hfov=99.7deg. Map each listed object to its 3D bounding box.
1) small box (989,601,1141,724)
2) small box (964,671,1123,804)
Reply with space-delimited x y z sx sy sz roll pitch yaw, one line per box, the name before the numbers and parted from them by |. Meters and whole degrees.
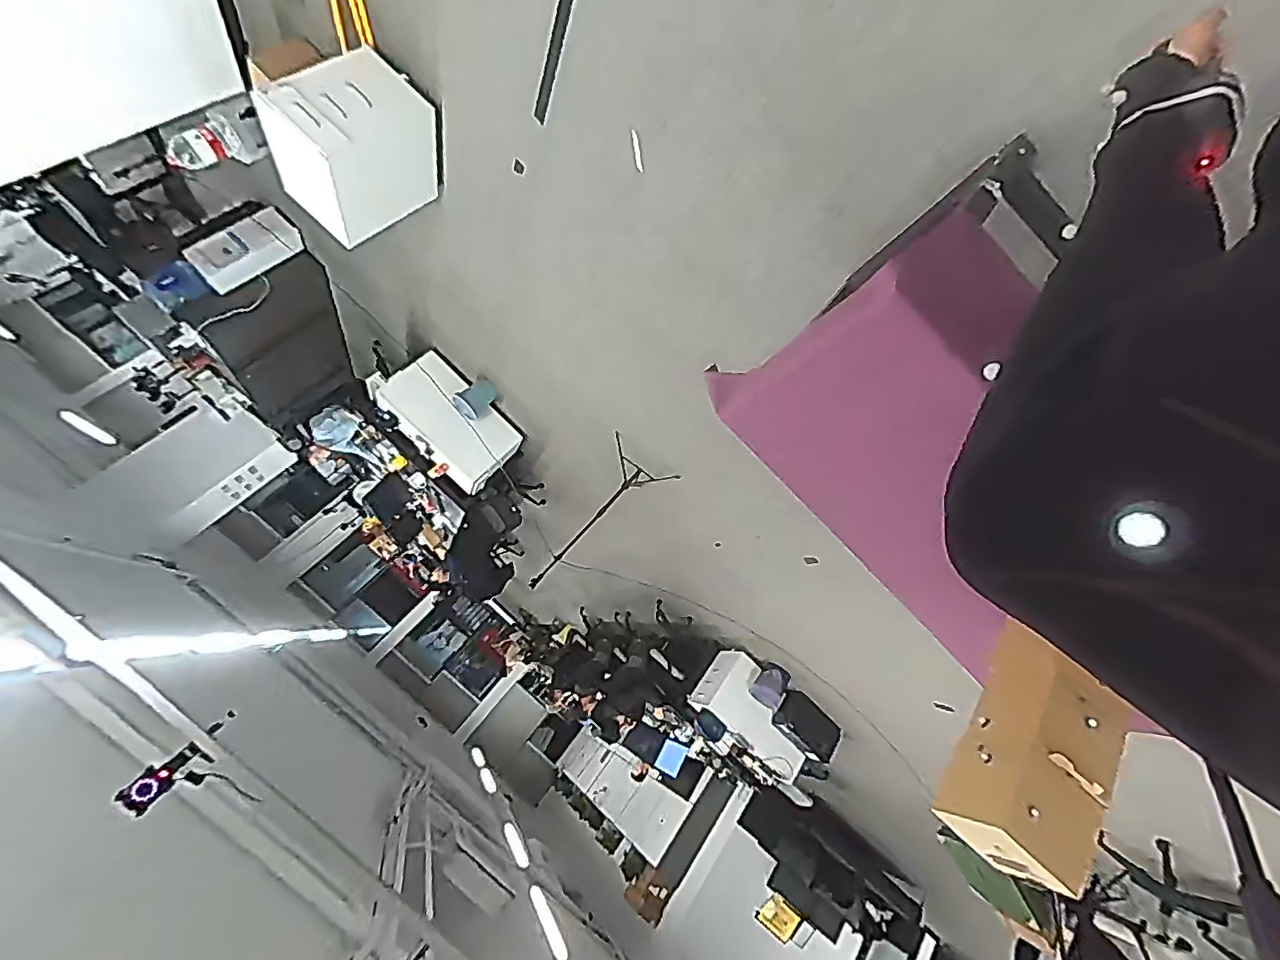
small box | 0.899 0.384 1.144 0.179 0.176 0.168 41 154 4
small box | 0.803 0.502 1.079 0.168 0.176 0.179 39 154 5
